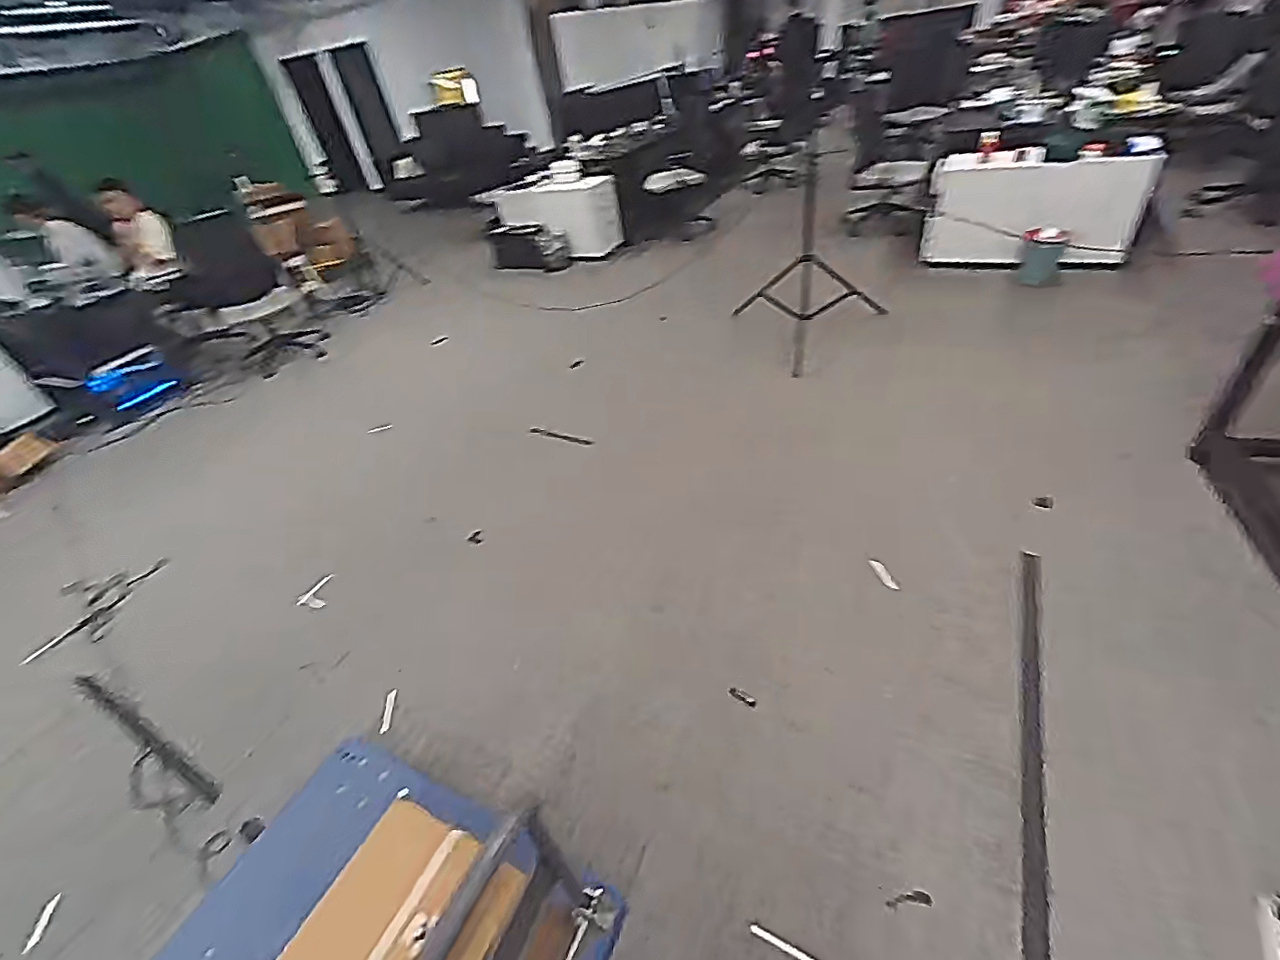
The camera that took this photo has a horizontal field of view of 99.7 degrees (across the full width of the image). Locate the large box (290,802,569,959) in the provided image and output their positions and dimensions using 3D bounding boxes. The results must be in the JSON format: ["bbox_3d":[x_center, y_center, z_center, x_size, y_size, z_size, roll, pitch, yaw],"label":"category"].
[{"bbox_3d":[-0.380,0.877,0.927,0.320,0.320,0.408,12,43,26],"label":"large box"}]
